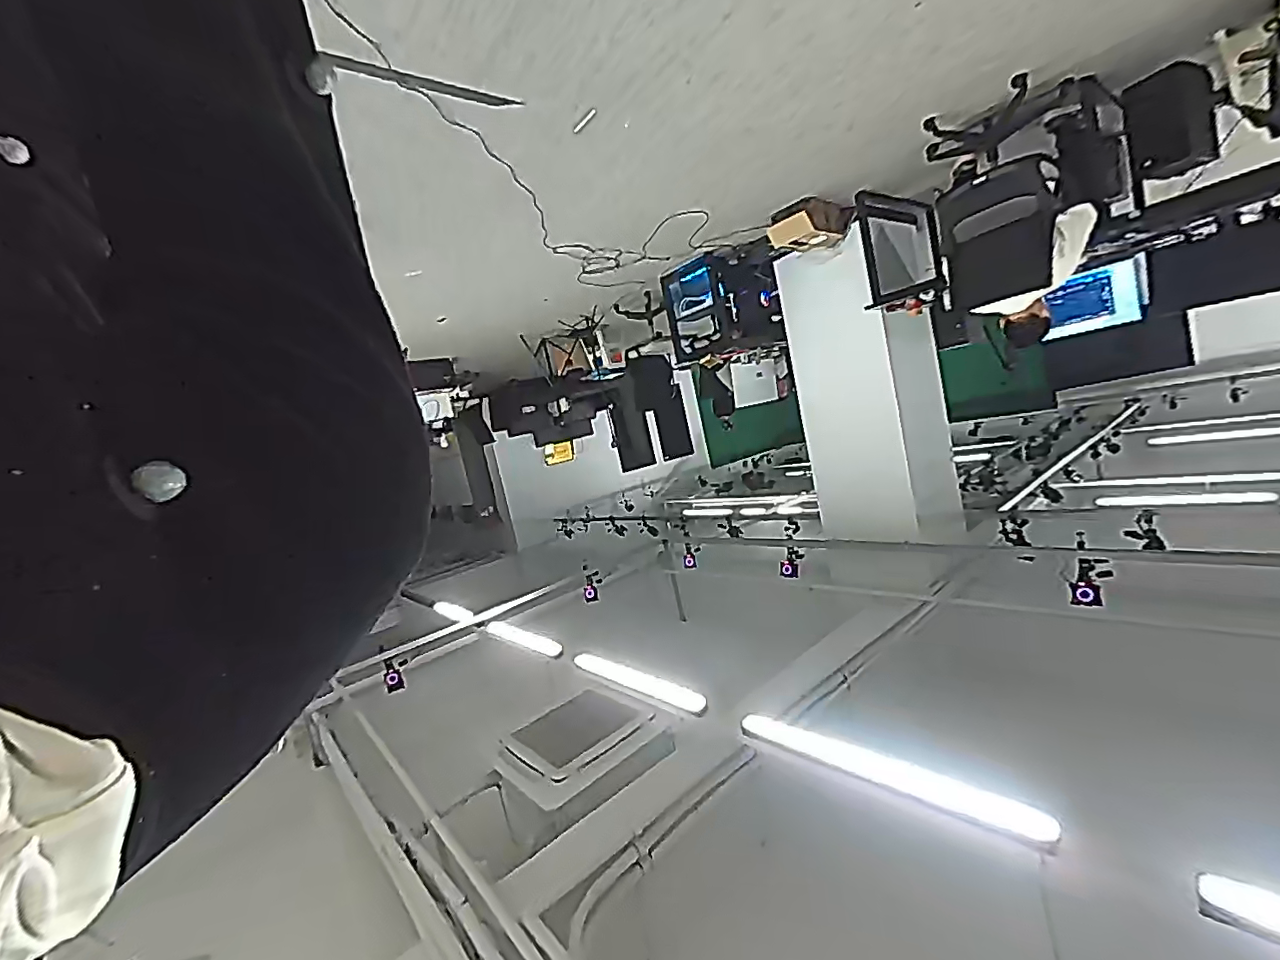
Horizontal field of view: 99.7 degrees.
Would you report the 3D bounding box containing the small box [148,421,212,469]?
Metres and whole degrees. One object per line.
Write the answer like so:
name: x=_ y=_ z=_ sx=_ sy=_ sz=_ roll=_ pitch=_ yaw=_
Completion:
small box: x=-1.919 y=-0.156 z=2.254 sx=0.179 sy=0.176 sz=0.168 roll=-18 pitch=-174 yaw=-40
